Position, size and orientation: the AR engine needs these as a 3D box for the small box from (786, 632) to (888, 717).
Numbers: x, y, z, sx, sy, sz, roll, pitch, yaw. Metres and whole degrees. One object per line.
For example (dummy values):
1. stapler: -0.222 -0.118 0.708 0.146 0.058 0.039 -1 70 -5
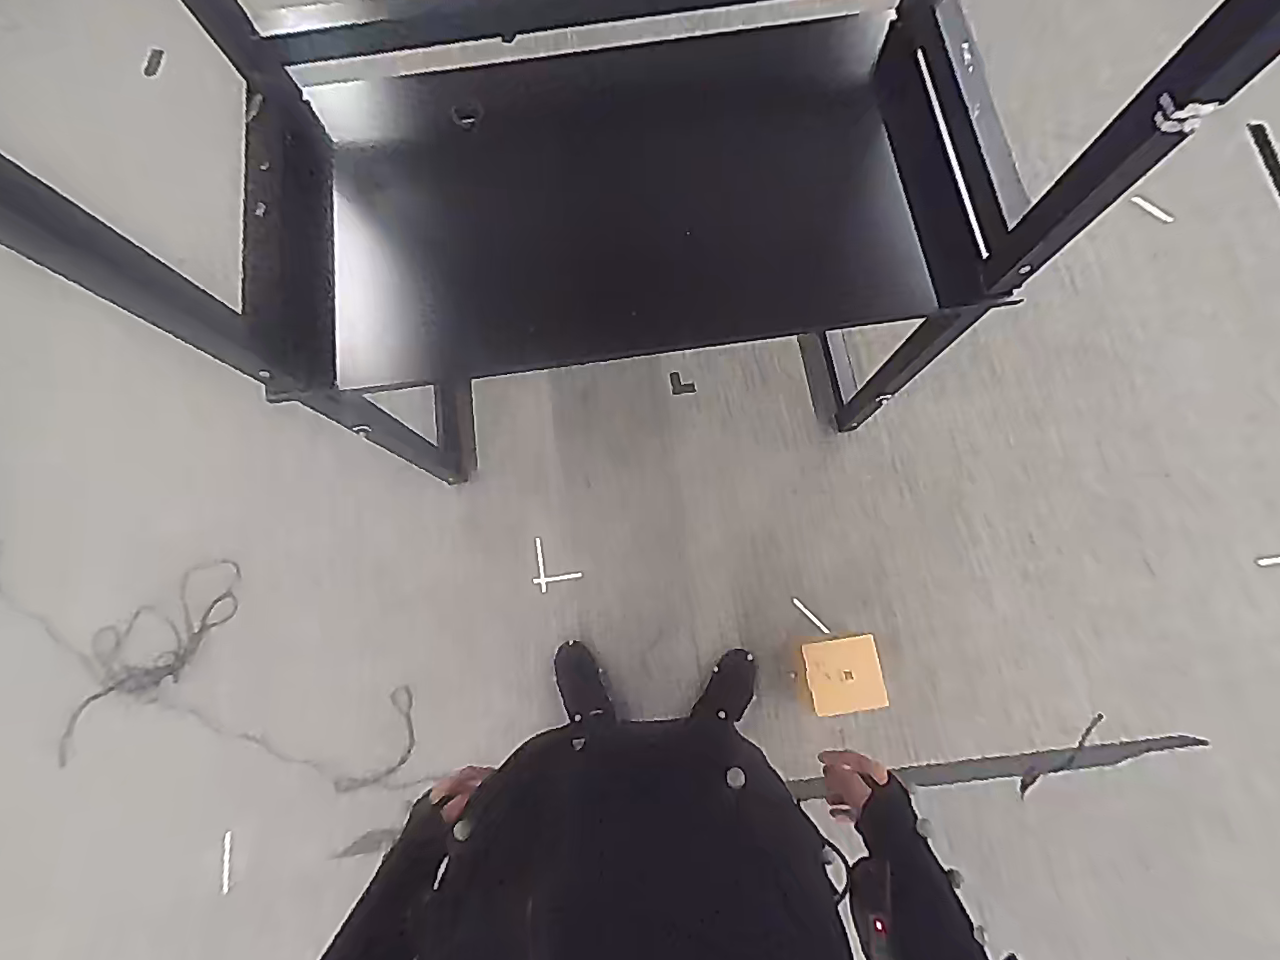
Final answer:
1. small box: 0.481 0.476 1.344 0.179 0.176 0.168 -9 77 1
